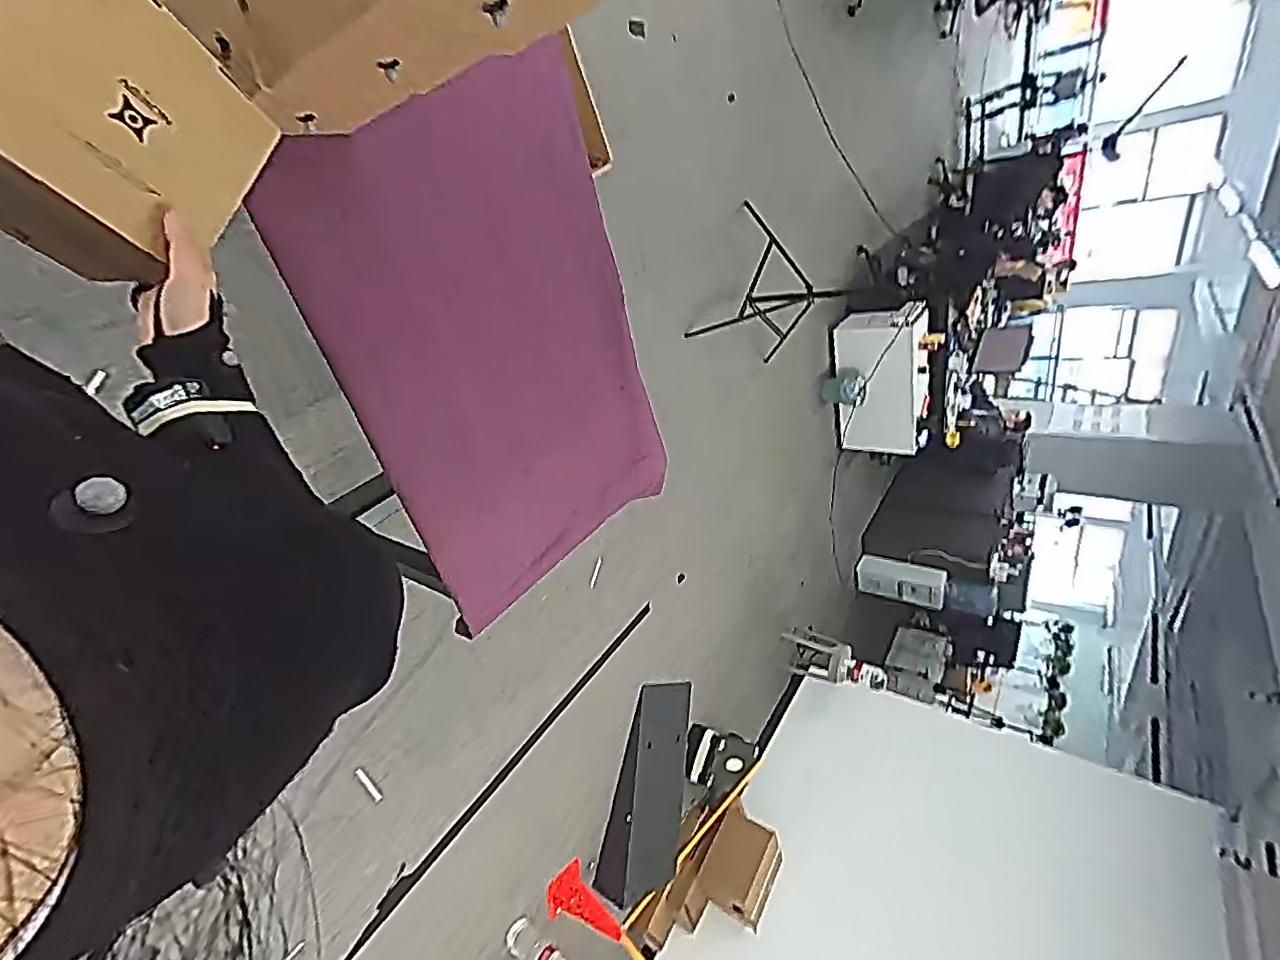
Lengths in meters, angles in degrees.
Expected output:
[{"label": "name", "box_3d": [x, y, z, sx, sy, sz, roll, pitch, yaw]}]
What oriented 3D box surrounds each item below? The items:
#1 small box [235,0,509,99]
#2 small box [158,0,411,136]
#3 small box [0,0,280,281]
[{"label": "small box", "box_3d": [-0.258, -0.473, 0.499, 0.179, 0.176, 0.168, -36, 125, -41]}, {"label": "small box", "box_3d": [-0.392, -0.494, 0.592, 0.168, 0.176, 0.179, -36, 124, -42]}, {"label": "small box", "box_3d": [-0.454, -0.287, 0.439, 0.168, 0.176, 0.179, 48, 54, -61]}]
